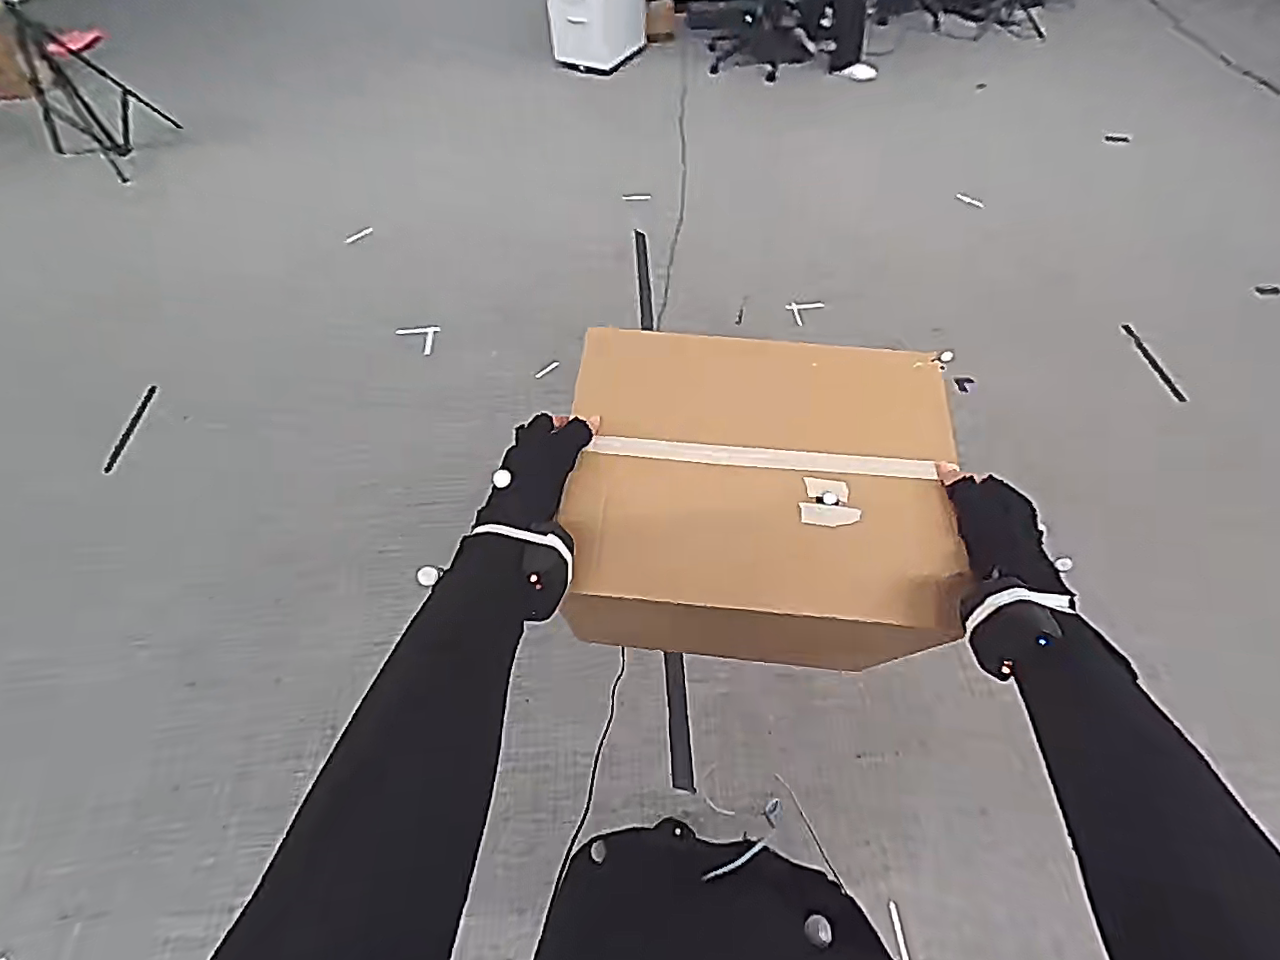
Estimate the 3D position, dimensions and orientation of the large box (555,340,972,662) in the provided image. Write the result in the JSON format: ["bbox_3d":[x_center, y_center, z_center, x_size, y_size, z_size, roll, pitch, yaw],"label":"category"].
[{"bbox_3d":[0.125,0.046,0.708,0.408,0.320,0.320,5,65,3],"label":"large box"}]
